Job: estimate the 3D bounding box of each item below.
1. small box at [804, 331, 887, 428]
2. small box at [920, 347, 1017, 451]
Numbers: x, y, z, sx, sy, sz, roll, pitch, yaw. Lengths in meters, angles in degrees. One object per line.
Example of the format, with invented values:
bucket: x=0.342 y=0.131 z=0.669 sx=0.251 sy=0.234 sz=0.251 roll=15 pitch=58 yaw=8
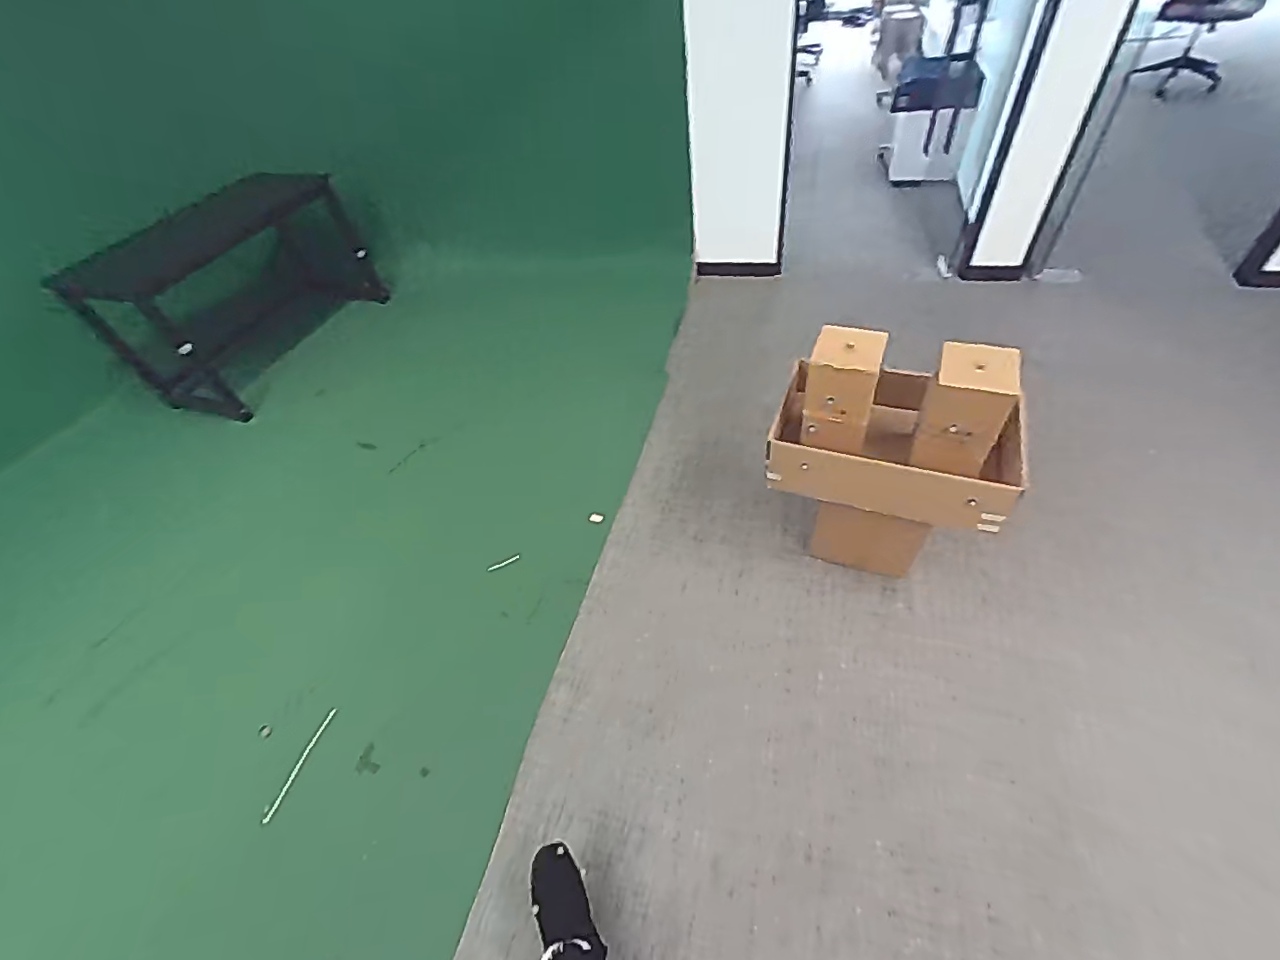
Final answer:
small box: x=0.543 y=-0.268 z=1.444 sx=0.168 sy=0.176 sz=0.179 roll=15 pitch=52 yaw=20
small box: x=0.809 y=-0.200 z=1.340 sx=0.168 sy=0.176 sz=0.179 roll=14 pitch=52 yaw=21
